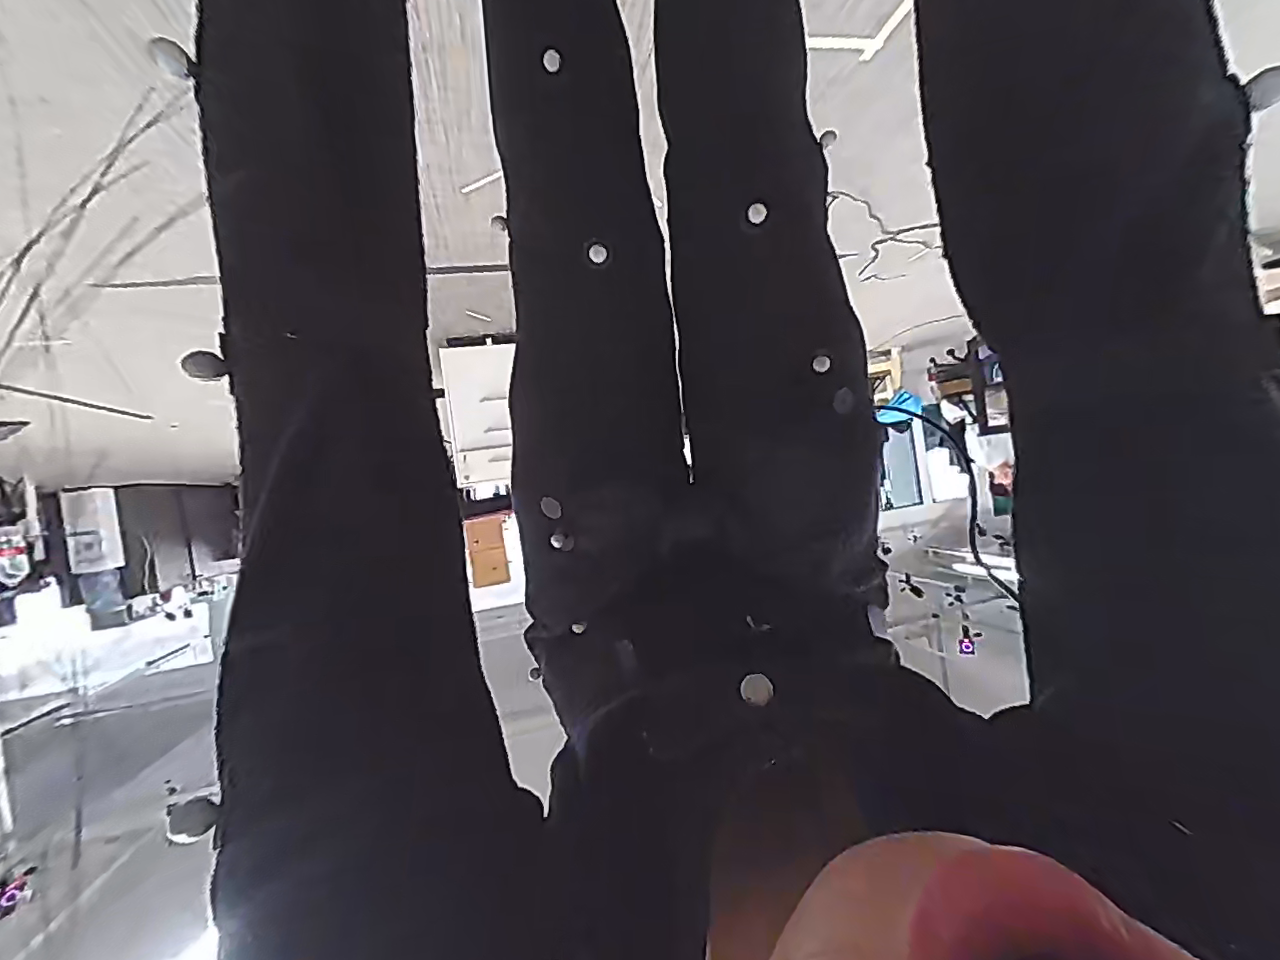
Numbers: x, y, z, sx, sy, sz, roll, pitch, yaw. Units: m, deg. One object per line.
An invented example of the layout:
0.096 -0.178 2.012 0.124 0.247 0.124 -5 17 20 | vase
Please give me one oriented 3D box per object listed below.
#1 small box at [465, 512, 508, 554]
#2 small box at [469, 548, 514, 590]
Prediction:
-0.739 0.252 2.588 0.179 0.176 0.168 -9 180 -18 | small box
-0.713 0.415 2.589 0.179 0.176 0.168 -9 179 -19 | small box
